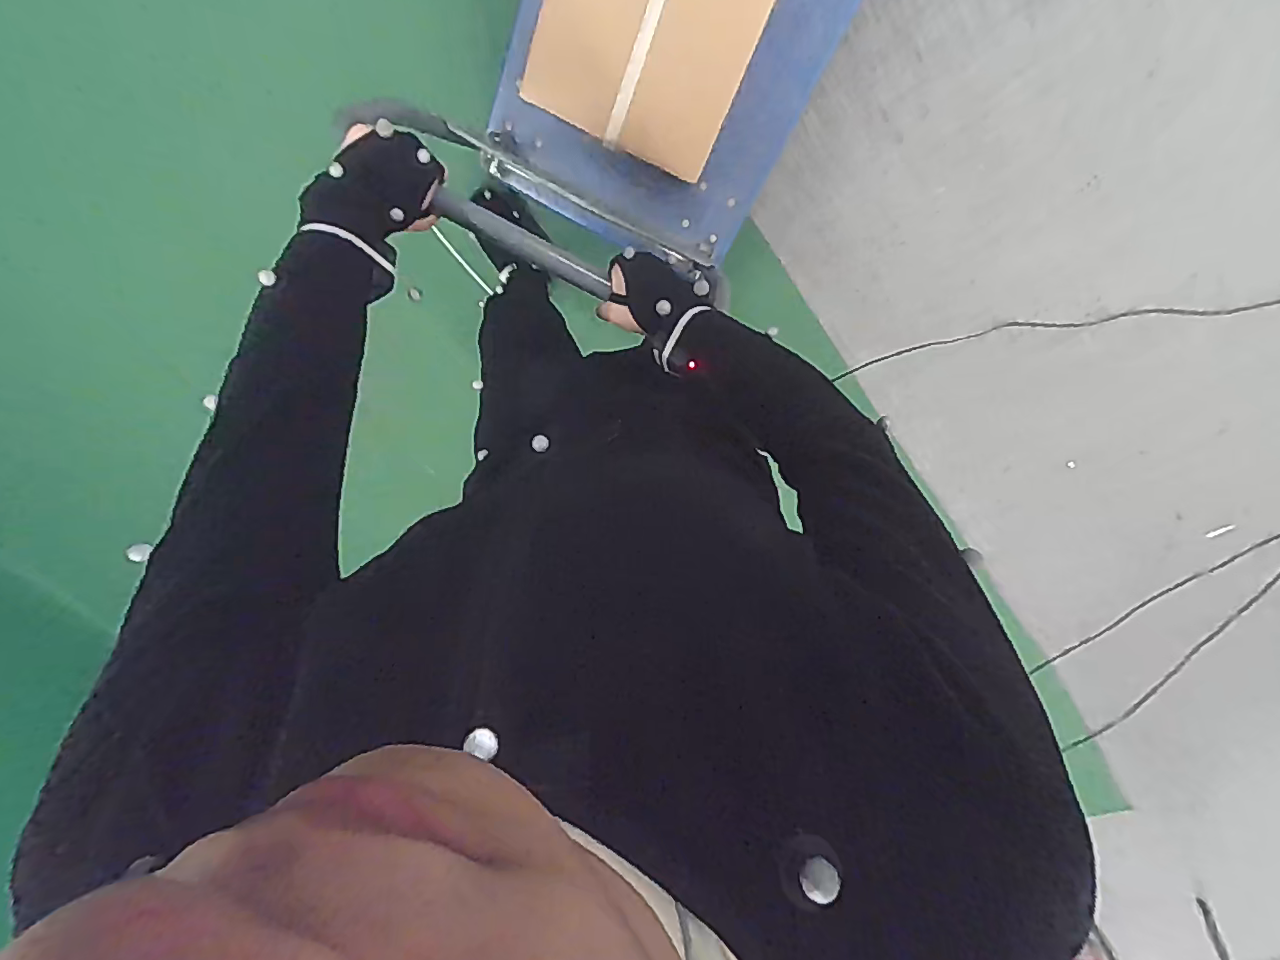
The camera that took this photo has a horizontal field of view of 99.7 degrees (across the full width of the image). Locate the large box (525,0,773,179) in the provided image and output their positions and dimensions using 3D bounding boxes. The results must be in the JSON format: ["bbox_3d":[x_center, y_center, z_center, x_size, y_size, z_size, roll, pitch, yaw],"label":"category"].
[{"bbox_3d":[0.043,-0.781,0.910,0.320,0.320,0.408,23,120,-8],"label":"large box"}]
